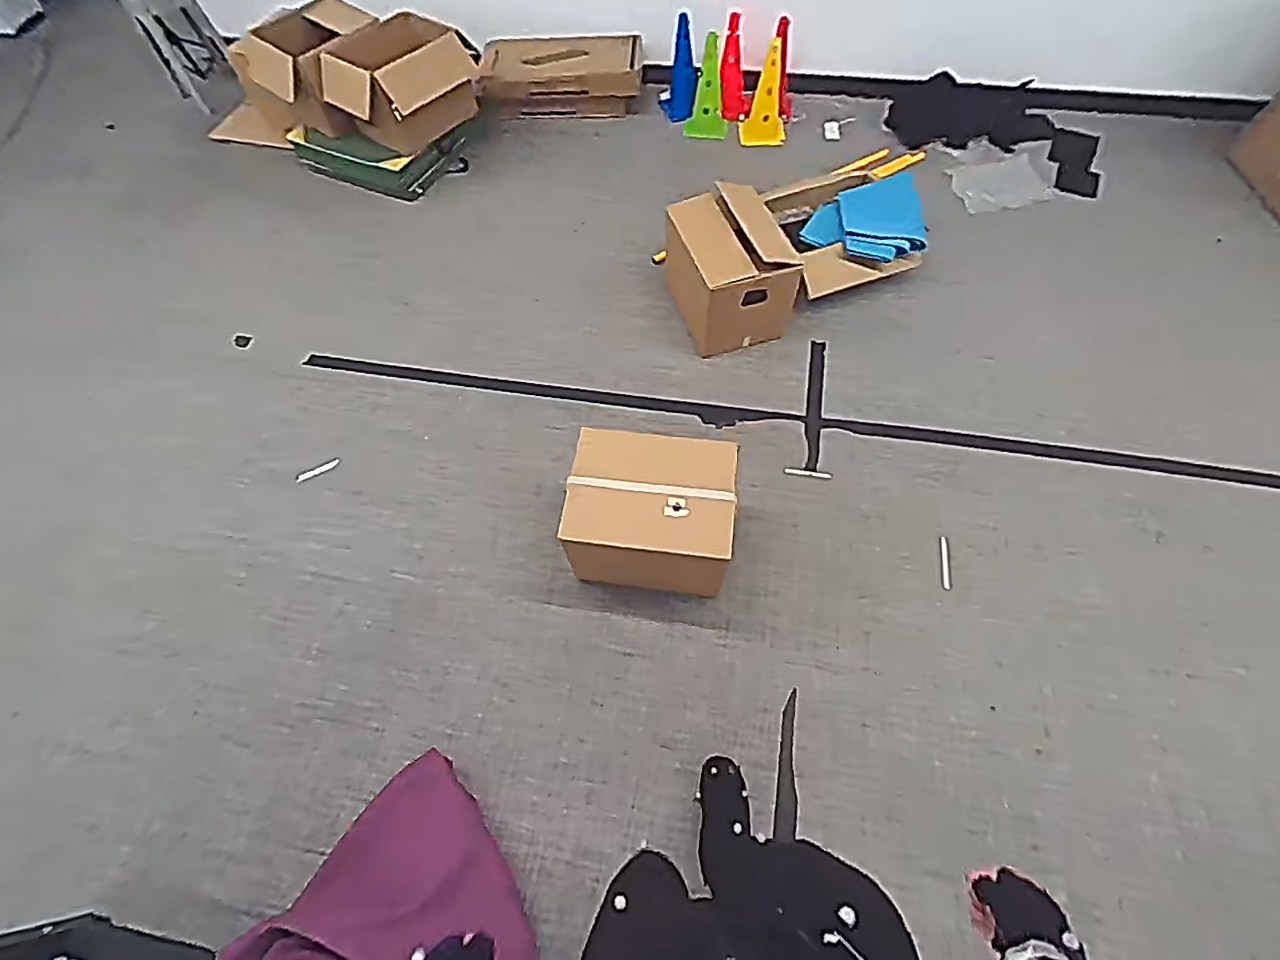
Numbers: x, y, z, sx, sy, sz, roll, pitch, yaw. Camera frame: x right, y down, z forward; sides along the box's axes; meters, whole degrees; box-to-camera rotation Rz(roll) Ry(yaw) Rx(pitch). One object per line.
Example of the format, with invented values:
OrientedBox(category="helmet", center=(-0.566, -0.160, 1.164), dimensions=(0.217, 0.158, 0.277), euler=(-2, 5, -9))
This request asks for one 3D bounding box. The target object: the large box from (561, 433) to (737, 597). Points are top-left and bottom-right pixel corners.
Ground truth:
OrientedBox(category="large box", center=(0.031, 0.100, 1.432), dimensions=(0.408, 0.320, 0.320), euler=(6, 63, 5))
